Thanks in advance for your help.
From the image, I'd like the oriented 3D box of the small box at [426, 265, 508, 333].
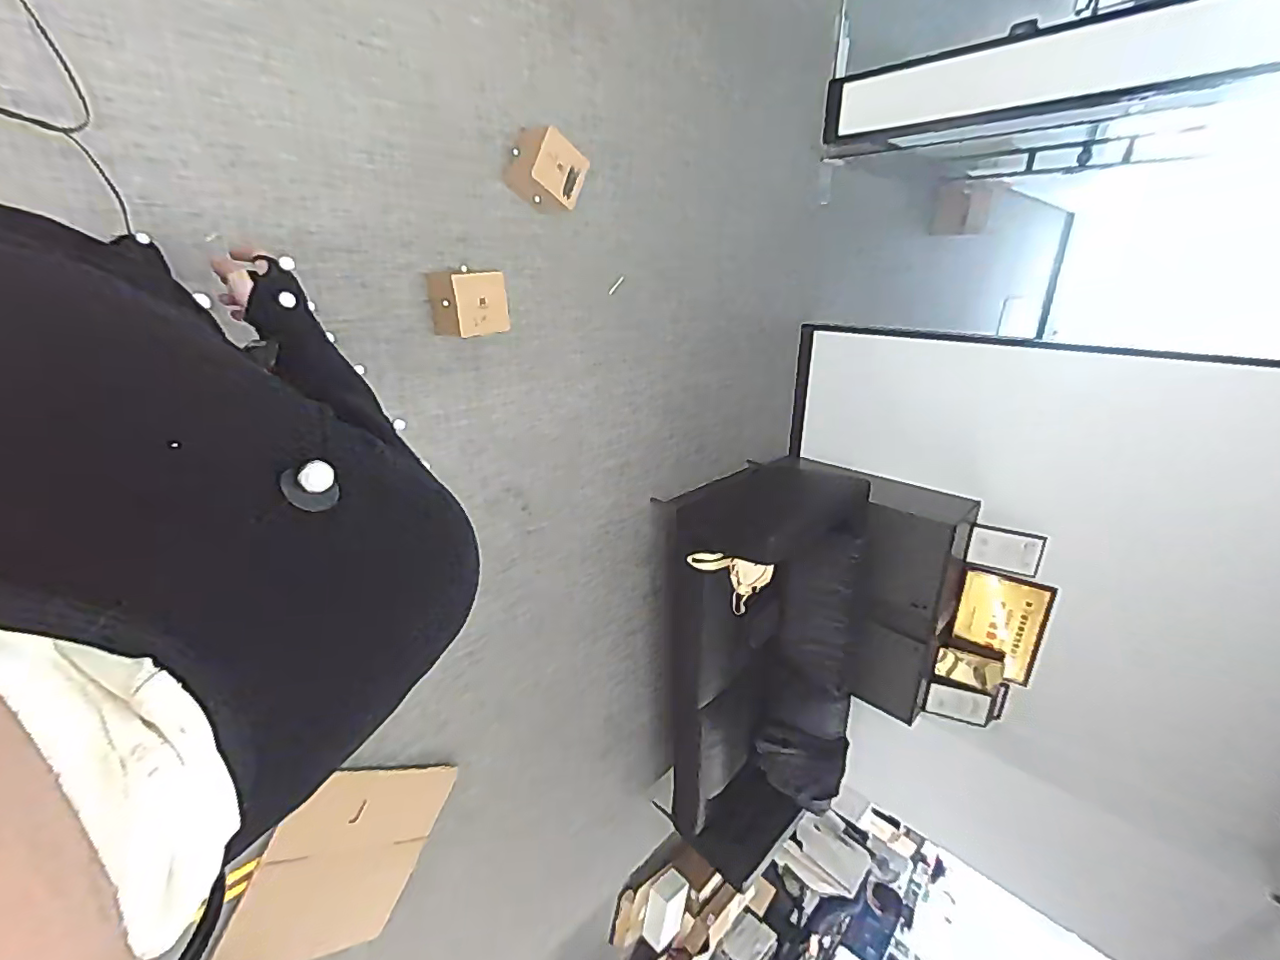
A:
[{"bbox_3d":[-0.521,-0.546,1.621,0.168,0.176,0.179,-23,122,-39],"label":"small box"}]
